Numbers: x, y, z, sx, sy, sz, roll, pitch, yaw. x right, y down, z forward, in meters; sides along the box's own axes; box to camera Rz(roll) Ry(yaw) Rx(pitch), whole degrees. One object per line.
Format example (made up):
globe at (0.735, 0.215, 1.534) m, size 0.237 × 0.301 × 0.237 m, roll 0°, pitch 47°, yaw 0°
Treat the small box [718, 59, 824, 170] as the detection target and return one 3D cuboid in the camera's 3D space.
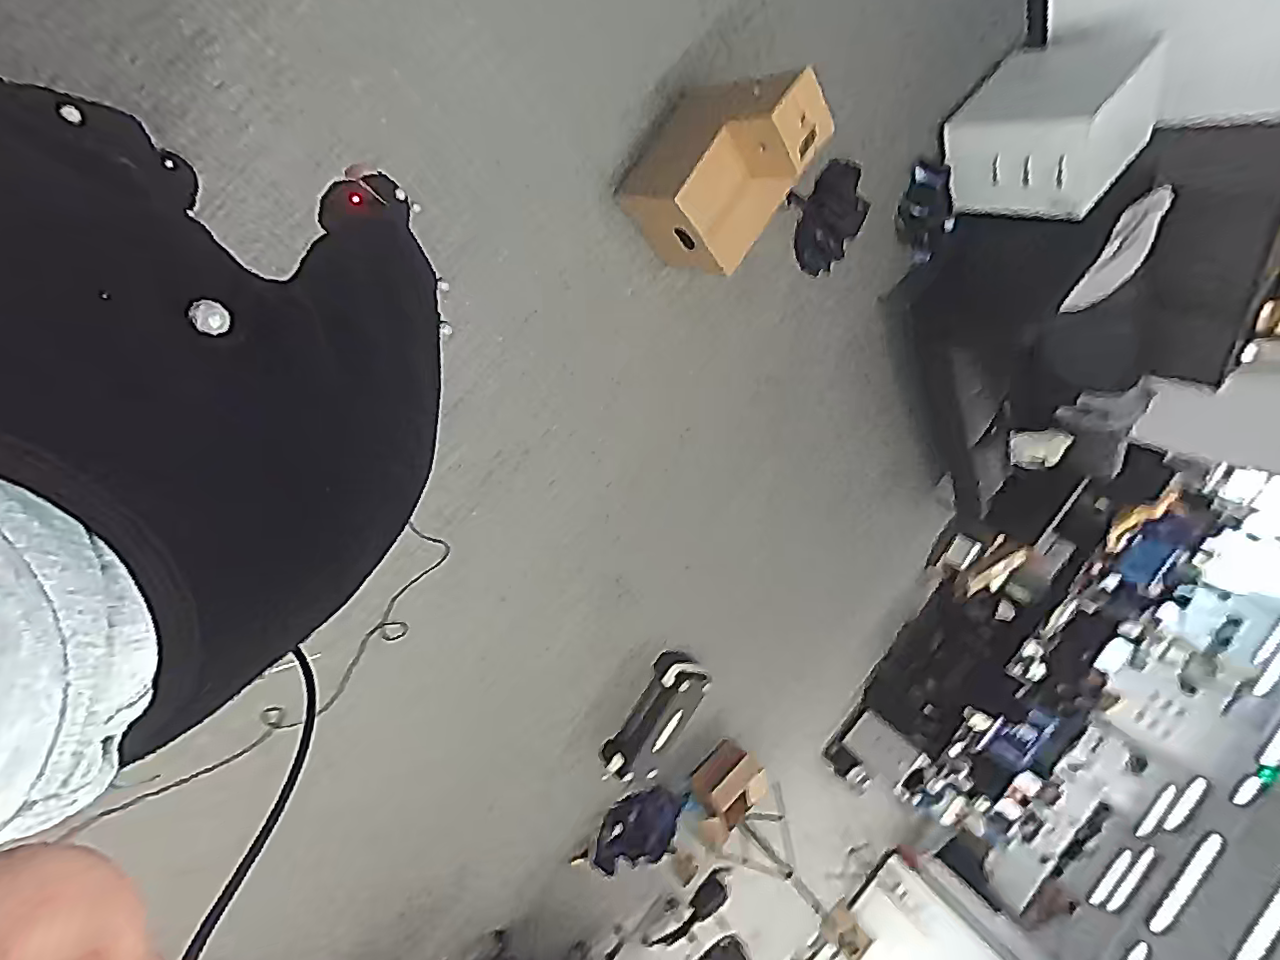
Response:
small box at (0.341, -0.945, 1.415) m, size 0.179 × 0.176 × 0.168 m, roll 39°, pitch 86°, yaw -41°
